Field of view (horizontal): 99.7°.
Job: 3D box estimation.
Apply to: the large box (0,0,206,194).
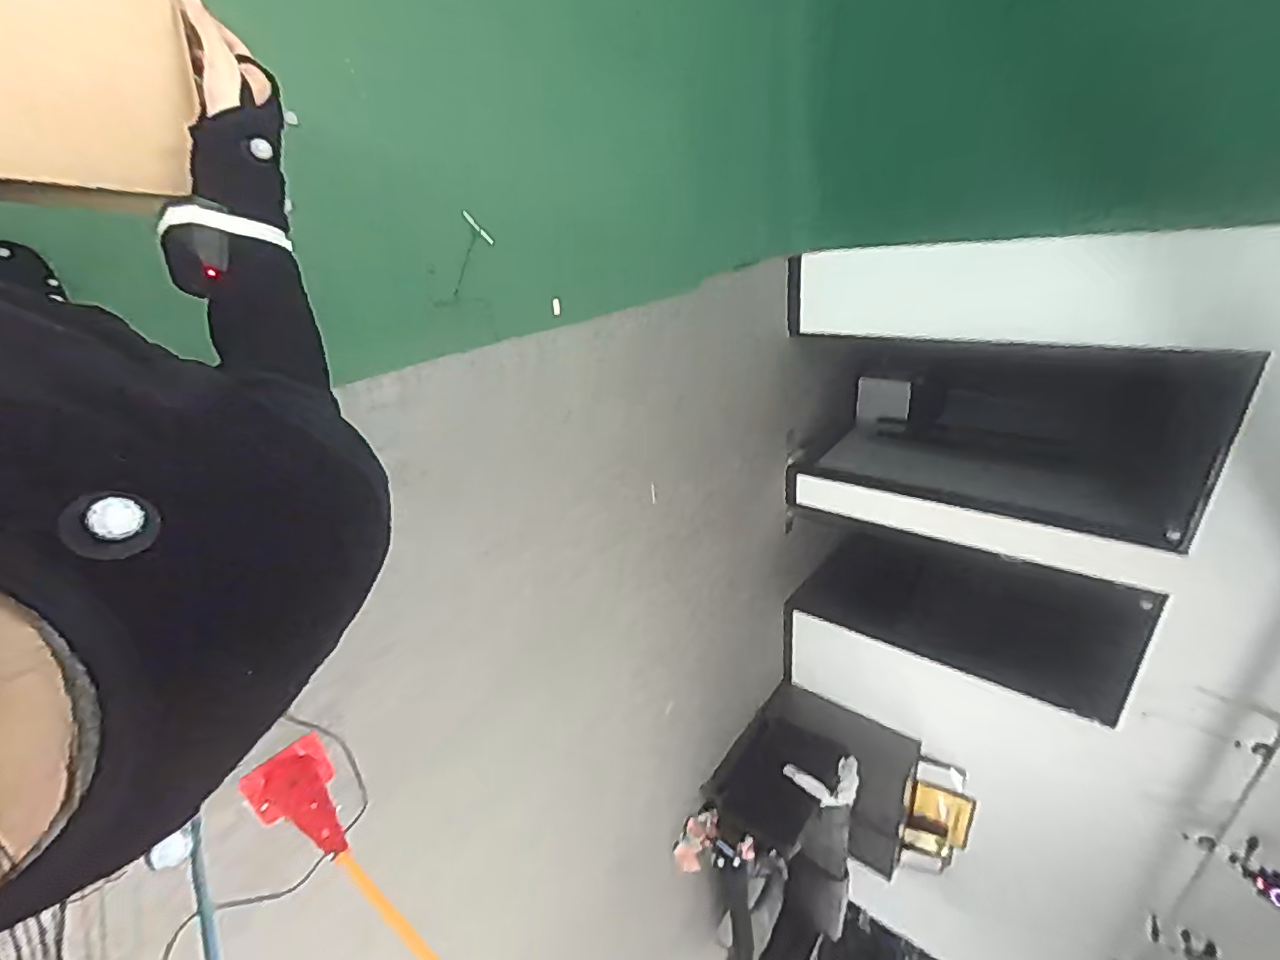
[{"bbox_3d":[-0.626,-0.394,0.380,0.408,0.320,0.320,-21,122,-47],"label":"large box"}]
